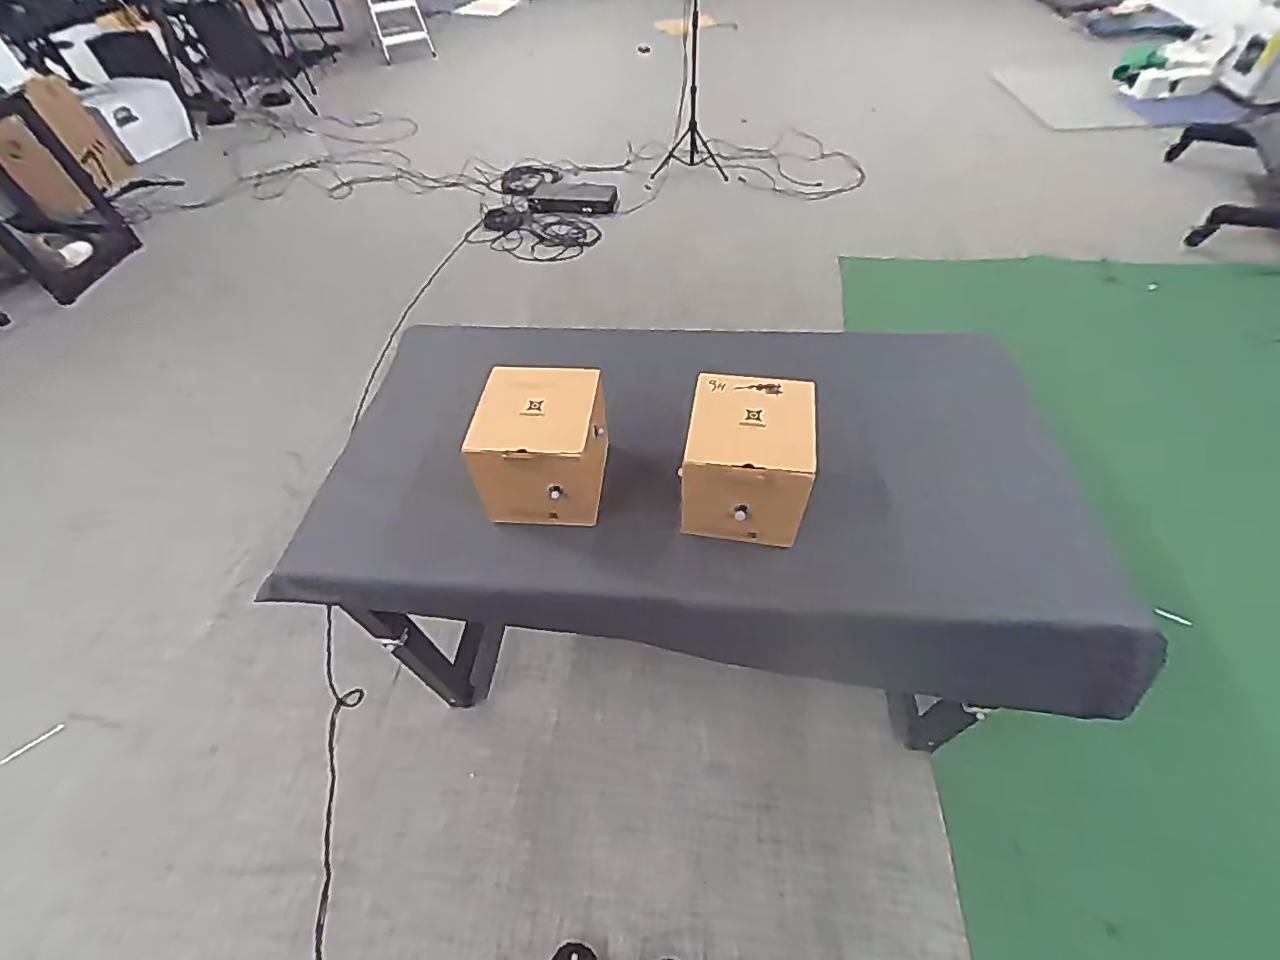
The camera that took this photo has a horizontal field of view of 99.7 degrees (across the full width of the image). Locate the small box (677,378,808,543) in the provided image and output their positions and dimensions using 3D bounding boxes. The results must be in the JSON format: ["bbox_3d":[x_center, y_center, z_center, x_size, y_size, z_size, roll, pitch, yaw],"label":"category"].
[{"bbox_3d":[0.149,-0.025,0.795,0.168,0.176,0.179,6,53,9],"label":"small box"}]

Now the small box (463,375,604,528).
[{"bbox_3d":[-0.150,-0.041,0.833,0.168,0.176,0.179,2,50,4],"label":"small box"}]
